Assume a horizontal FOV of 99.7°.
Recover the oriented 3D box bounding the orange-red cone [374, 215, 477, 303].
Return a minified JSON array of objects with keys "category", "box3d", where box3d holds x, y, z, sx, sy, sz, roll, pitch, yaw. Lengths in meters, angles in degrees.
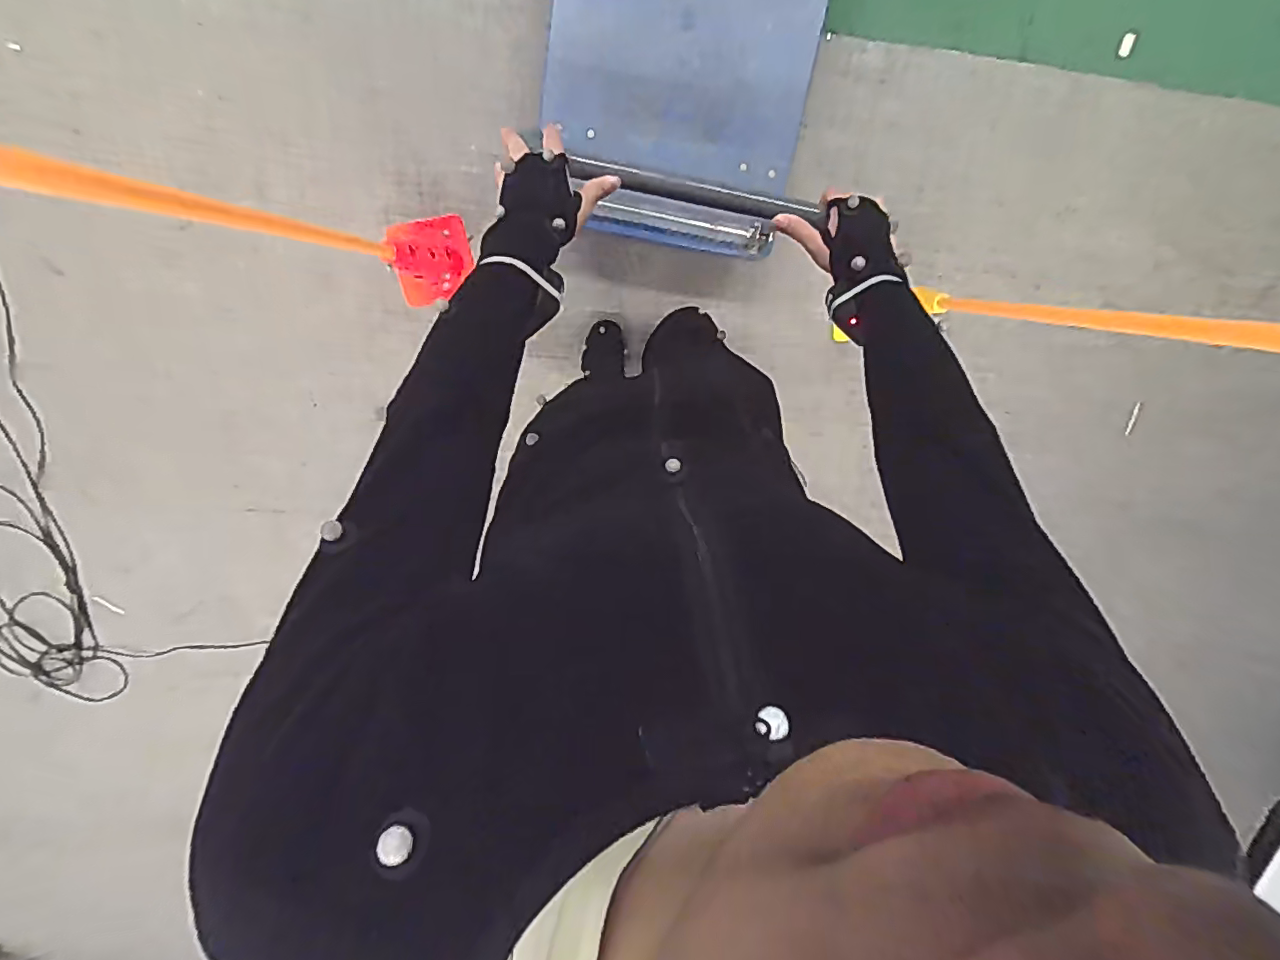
[{"category":"orange-red cone","box3d":[-0.522,-0.513,1.234,0.199,0.360,0.198,-10,109,0]}]
